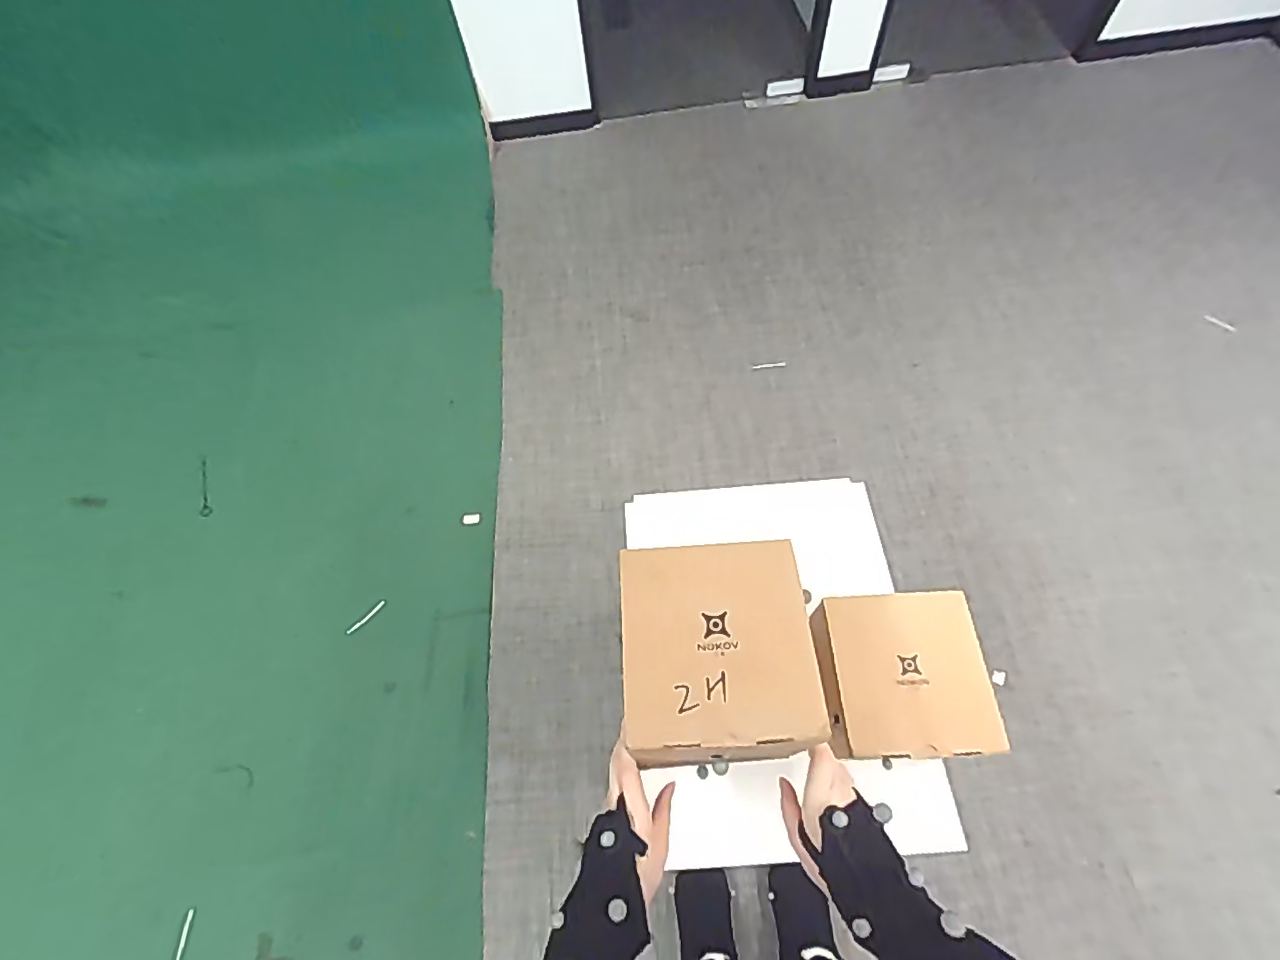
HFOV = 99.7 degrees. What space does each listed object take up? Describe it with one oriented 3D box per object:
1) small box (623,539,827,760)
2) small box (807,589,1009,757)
[{"bbox_3d":[0.070,0.175,0.542,0.168,0.176,0.179,-4,60,3],"label":"small box"},{"bbox_3d":[0.308,0.246,0.676,0.168,0.176,0.179,-4,64,4],"label":"small box"}]
